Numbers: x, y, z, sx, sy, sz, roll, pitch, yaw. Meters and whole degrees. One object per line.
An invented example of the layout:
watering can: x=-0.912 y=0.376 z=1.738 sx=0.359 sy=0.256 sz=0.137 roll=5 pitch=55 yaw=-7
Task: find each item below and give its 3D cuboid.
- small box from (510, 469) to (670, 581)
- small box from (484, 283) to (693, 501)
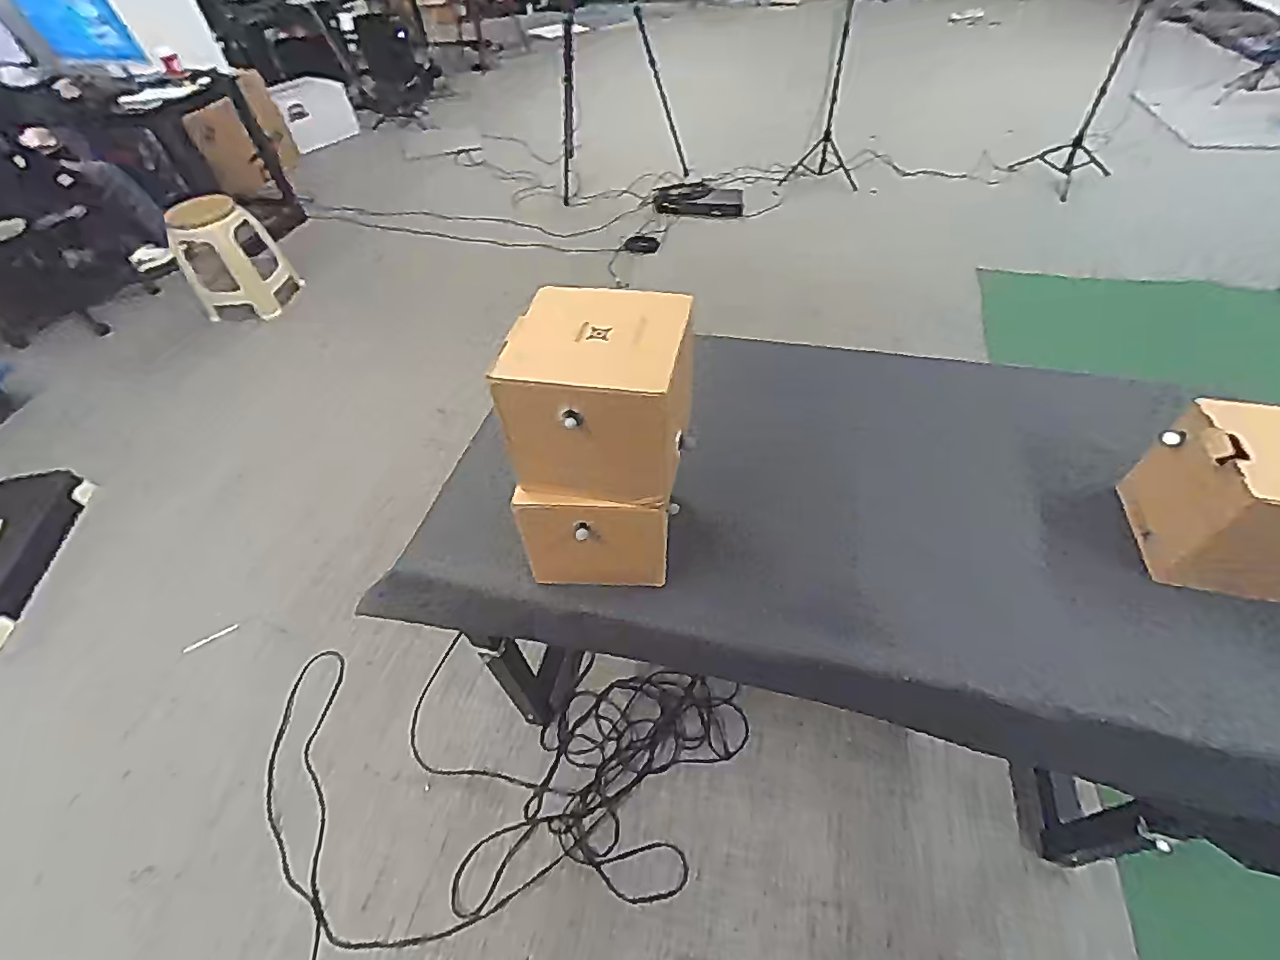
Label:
small box: x=-0.050 y=0.021 z=0.712 sx=0.179 sy=0.176 sz=0.168 roll=1 pitch=48 yaw=5
small box: x=-0.041 y=-0.095 z=0.596 sx=0.179 sy=0.176 sz=0.168 roll=8 pitch=51 yaw=10
